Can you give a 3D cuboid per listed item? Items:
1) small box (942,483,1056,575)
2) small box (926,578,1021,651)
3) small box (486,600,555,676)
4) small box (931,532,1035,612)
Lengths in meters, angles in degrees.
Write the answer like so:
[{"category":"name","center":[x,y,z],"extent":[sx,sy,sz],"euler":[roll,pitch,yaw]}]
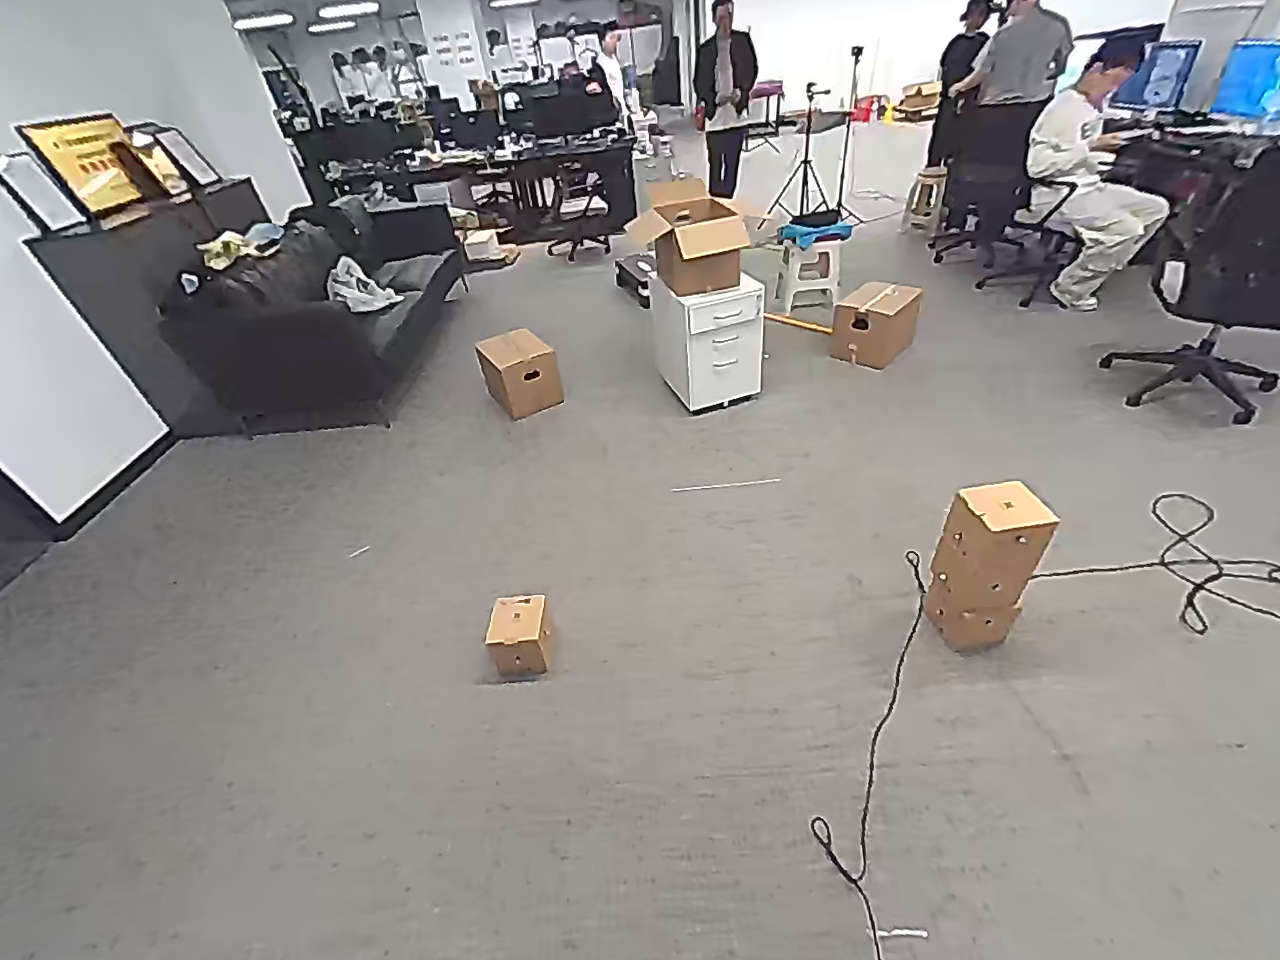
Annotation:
[{"category":"small box","center":[0.950,0.132,1.450],"extent":[0.179,0.176,0.168],"euler":[-9,38,0]},{"category":"small box","center":[0.996,0.394,1.639],"extent":[0.179,0.176,0.168],"euler":[-10,38,-3]},{"category":"small box","center":[-0.377,0.514,1.741],"extent":[0.168,0.176,0.179],"euler":[-5,38,4]},{"category":"small box","center":[0.973,0.256,1.553],"extent":[0.179,0.176,0.168],"euler":[-9,37,1]}]
